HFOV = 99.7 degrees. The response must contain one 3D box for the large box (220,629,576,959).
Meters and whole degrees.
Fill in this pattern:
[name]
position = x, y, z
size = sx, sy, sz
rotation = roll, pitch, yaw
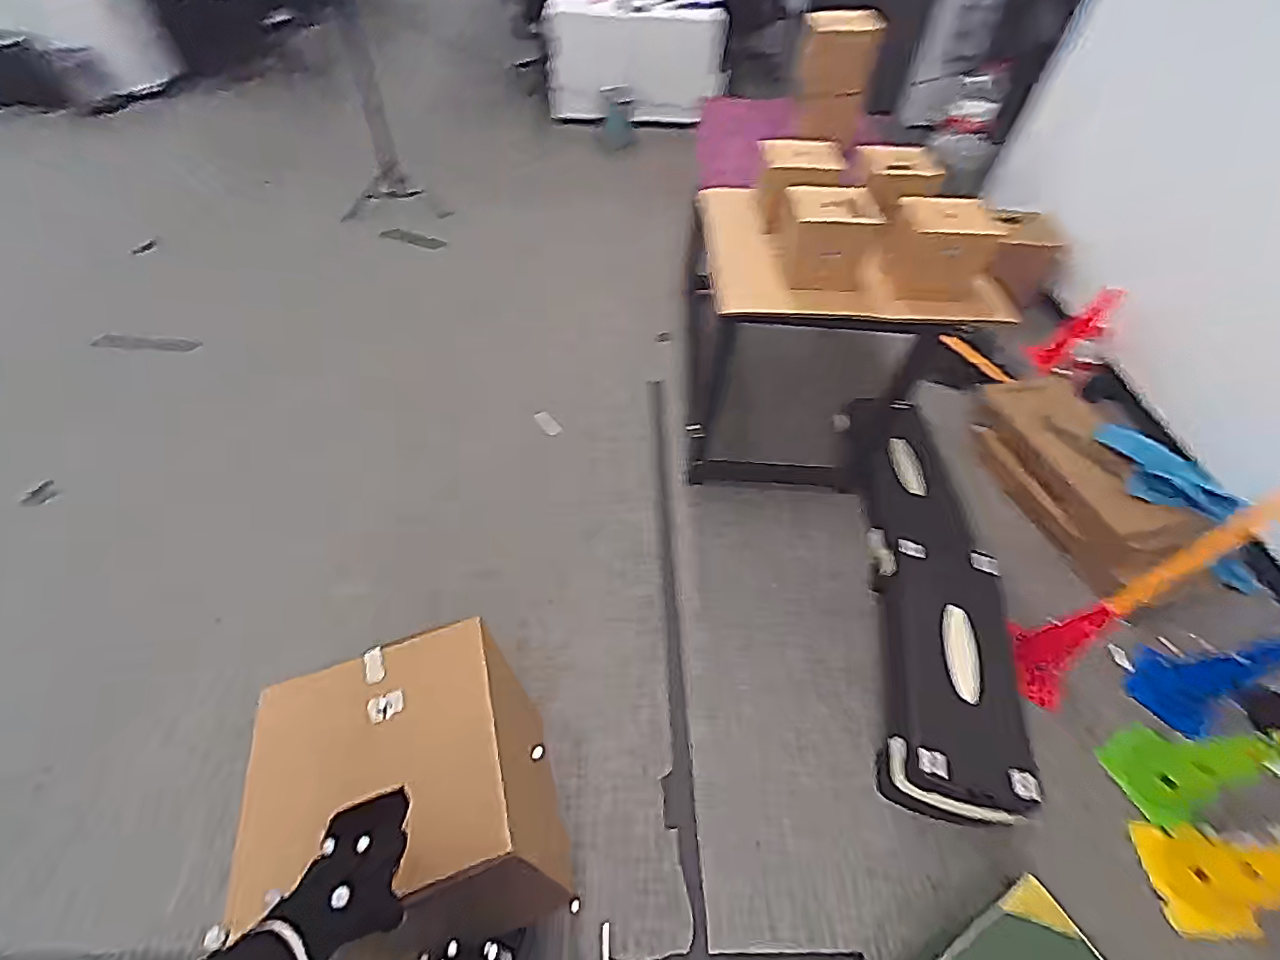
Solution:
[large box]
position = -0.321, 0.490, 0.816
size = 0.320, 0.408, 0.320
rotation = -18, 48, -8
